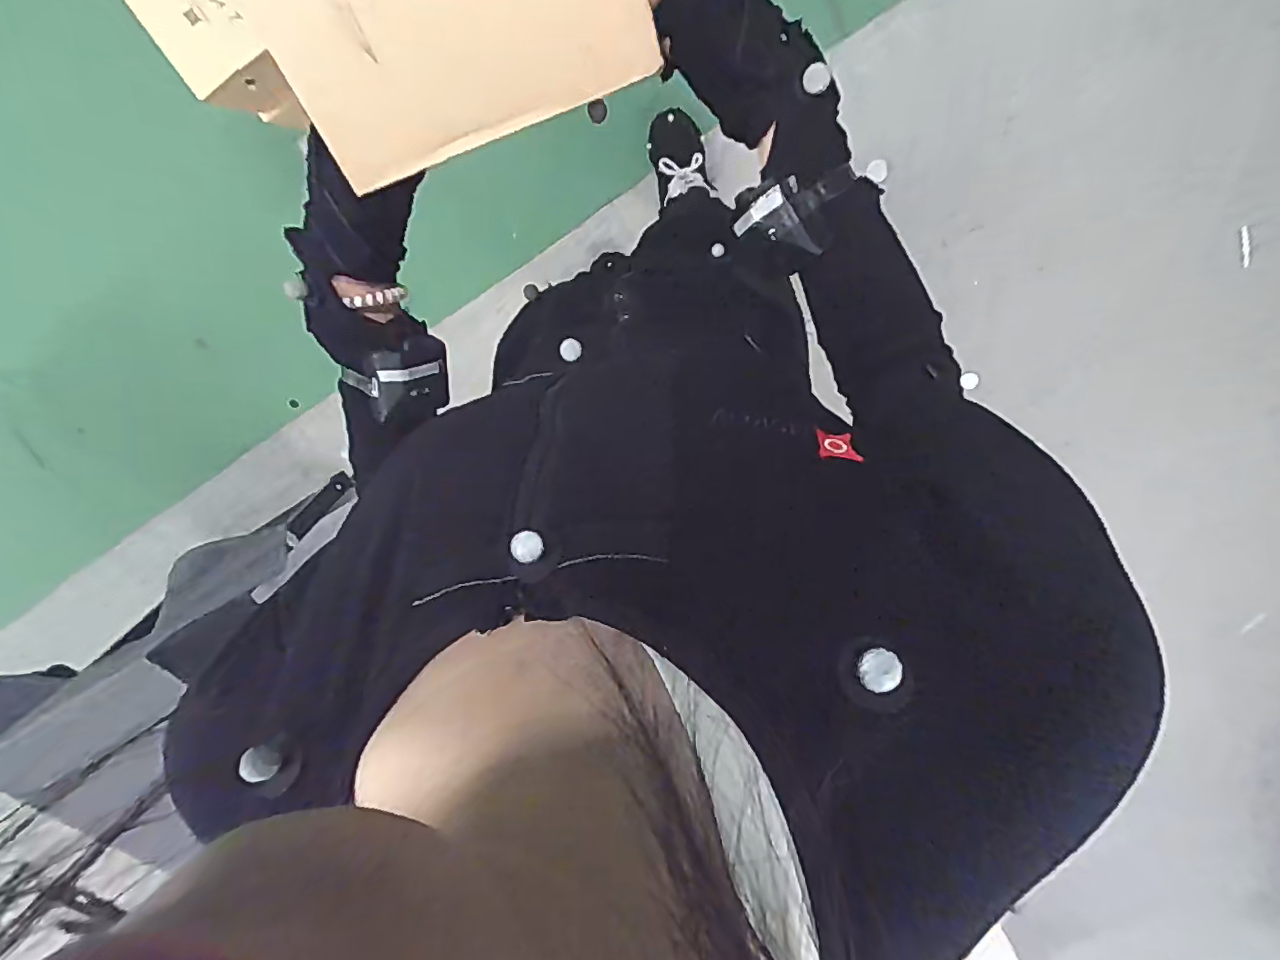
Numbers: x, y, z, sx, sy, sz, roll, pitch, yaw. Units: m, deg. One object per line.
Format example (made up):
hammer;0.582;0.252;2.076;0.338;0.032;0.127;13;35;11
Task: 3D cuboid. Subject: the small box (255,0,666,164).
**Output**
small box;-0.096;-0.296;0.280;0.179;0.176;0.168;-15;128;11

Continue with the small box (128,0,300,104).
small box;-0.685;-0.766;0.905;0.179;0.176;0.168;-24;116;12

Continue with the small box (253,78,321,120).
small box;-0.689;-0.834;1.056;0.168;0.176;0.179;-23;116;12
